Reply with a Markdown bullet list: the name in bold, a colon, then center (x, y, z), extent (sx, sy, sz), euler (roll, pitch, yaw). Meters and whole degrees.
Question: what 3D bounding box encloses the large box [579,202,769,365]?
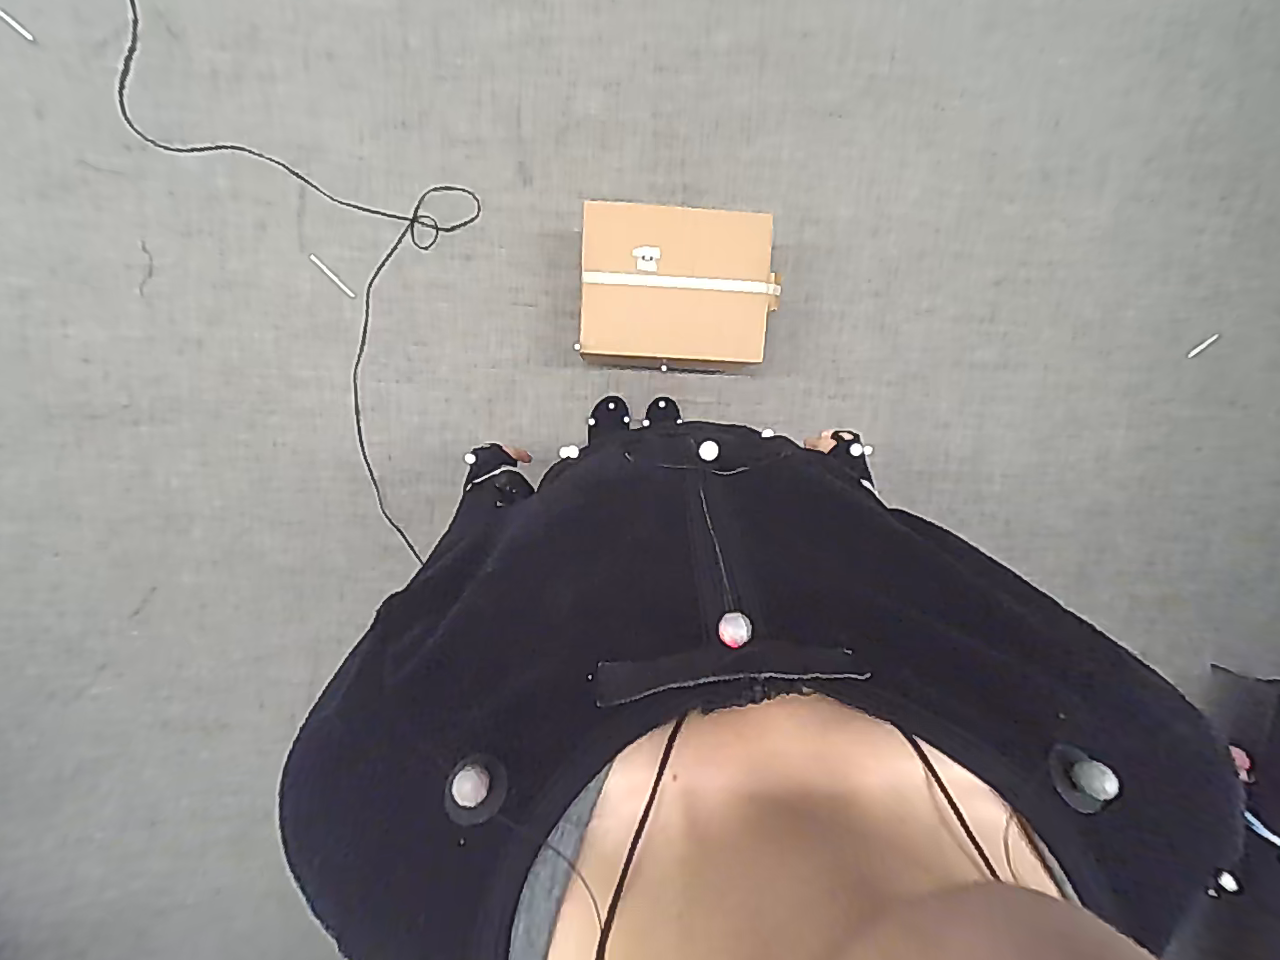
- **large box**: center (0.068, -0.447, 1.308), extent (0.408, 0.320, 0.320), euler (3, 98, -3)
